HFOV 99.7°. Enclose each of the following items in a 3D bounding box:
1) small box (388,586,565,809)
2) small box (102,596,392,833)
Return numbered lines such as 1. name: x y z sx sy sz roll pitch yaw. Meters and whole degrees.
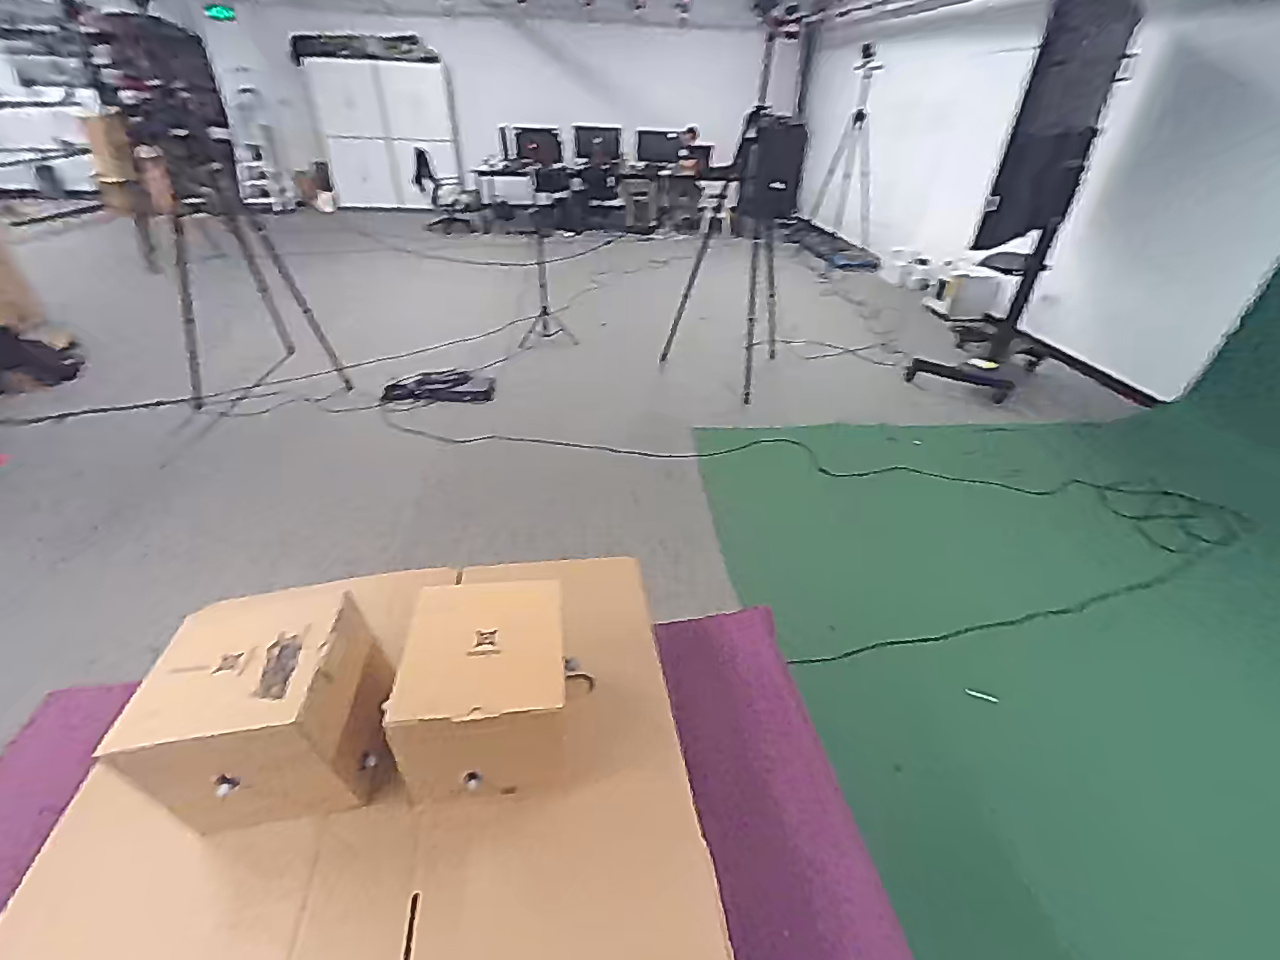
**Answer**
1. small box: -0.173 0.246 0.629 0.168 0.176 0.179 -2 36 -9
2. small box: -0.401 0.257 0.598 0.179 0.176 0.168 -9 36 -4
